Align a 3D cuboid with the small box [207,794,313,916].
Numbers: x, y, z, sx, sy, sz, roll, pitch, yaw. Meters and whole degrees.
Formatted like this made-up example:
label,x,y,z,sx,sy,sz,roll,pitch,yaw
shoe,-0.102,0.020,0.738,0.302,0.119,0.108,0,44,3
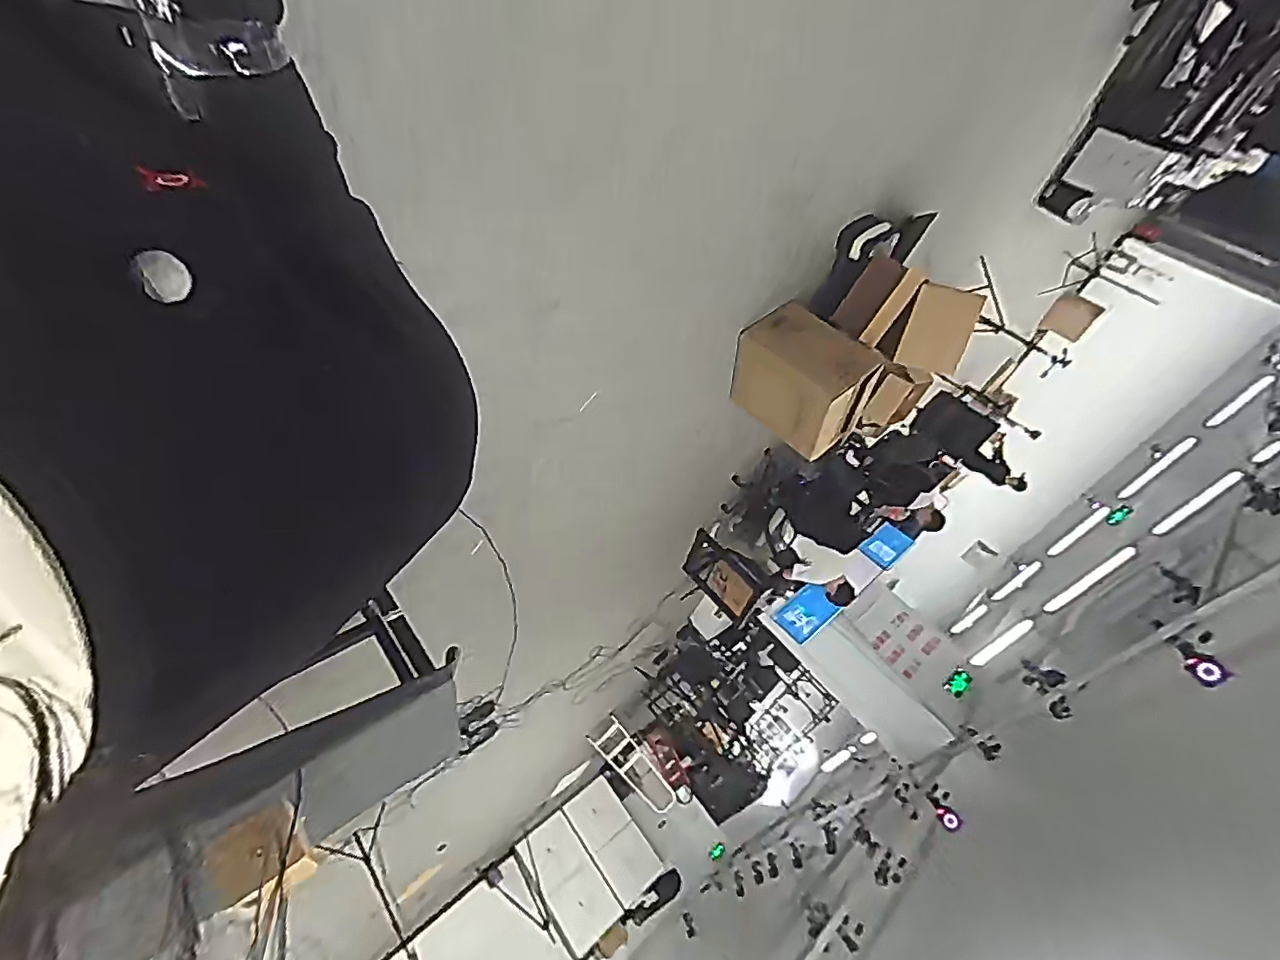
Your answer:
label,x,y,z,sx,sy,sz,roll,pitch,yaw
small box,-0.959,0.943,1.365,0.179,0.176,0.168,-23,149,-37
